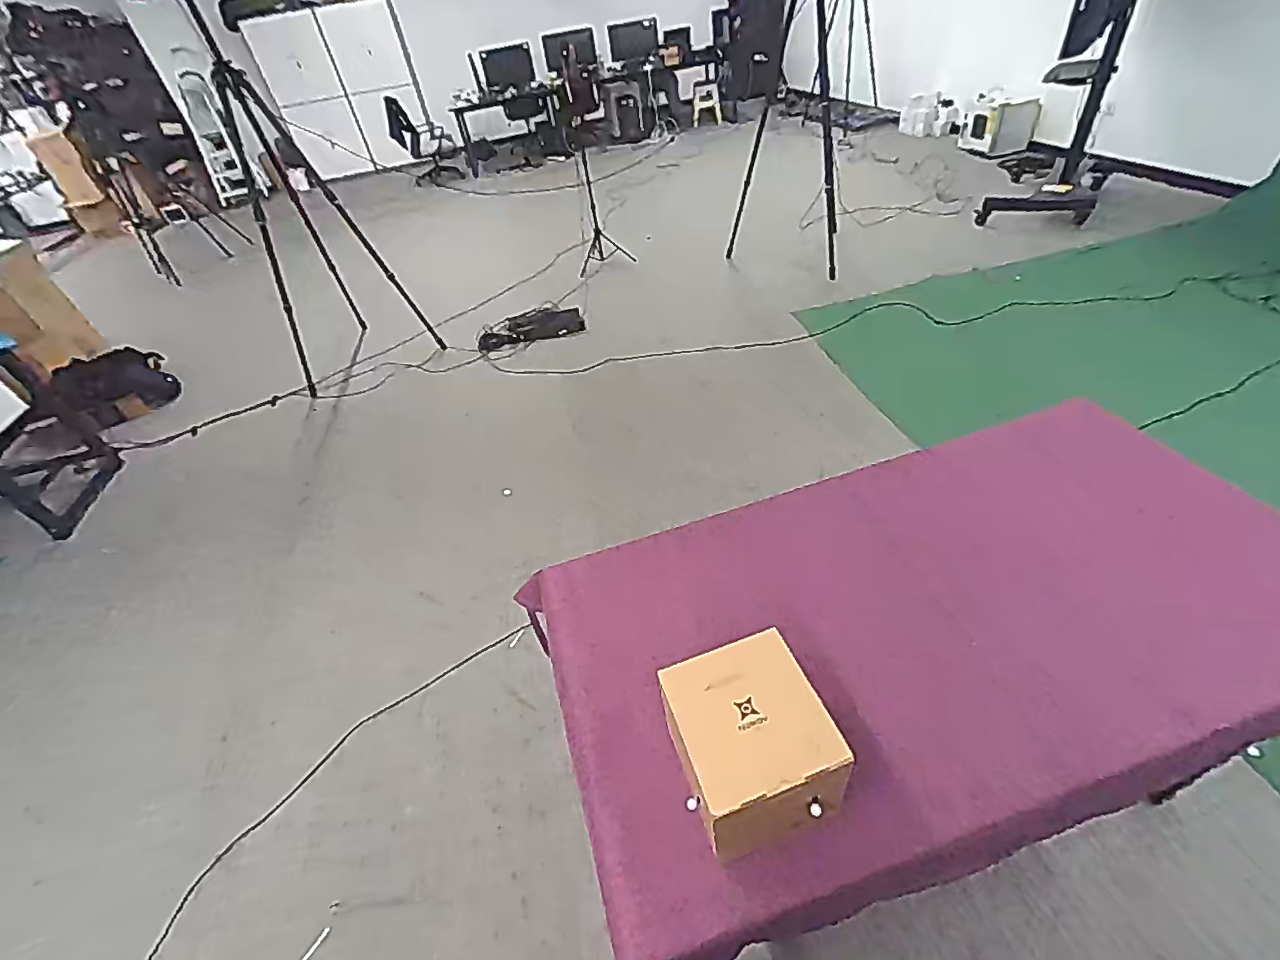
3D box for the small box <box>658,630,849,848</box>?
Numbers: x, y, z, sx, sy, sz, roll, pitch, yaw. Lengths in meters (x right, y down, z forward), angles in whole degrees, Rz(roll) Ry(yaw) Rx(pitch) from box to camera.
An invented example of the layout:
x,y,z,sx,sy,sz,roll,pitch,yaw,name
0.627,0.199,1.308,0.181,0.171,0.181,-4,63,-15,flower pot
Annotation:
x,y,z,sx,sy,sz,roll,pitch,yaw,name
0.133,0.327,0.675,0.168,0.176,0.179,-17,42,-9,small box
